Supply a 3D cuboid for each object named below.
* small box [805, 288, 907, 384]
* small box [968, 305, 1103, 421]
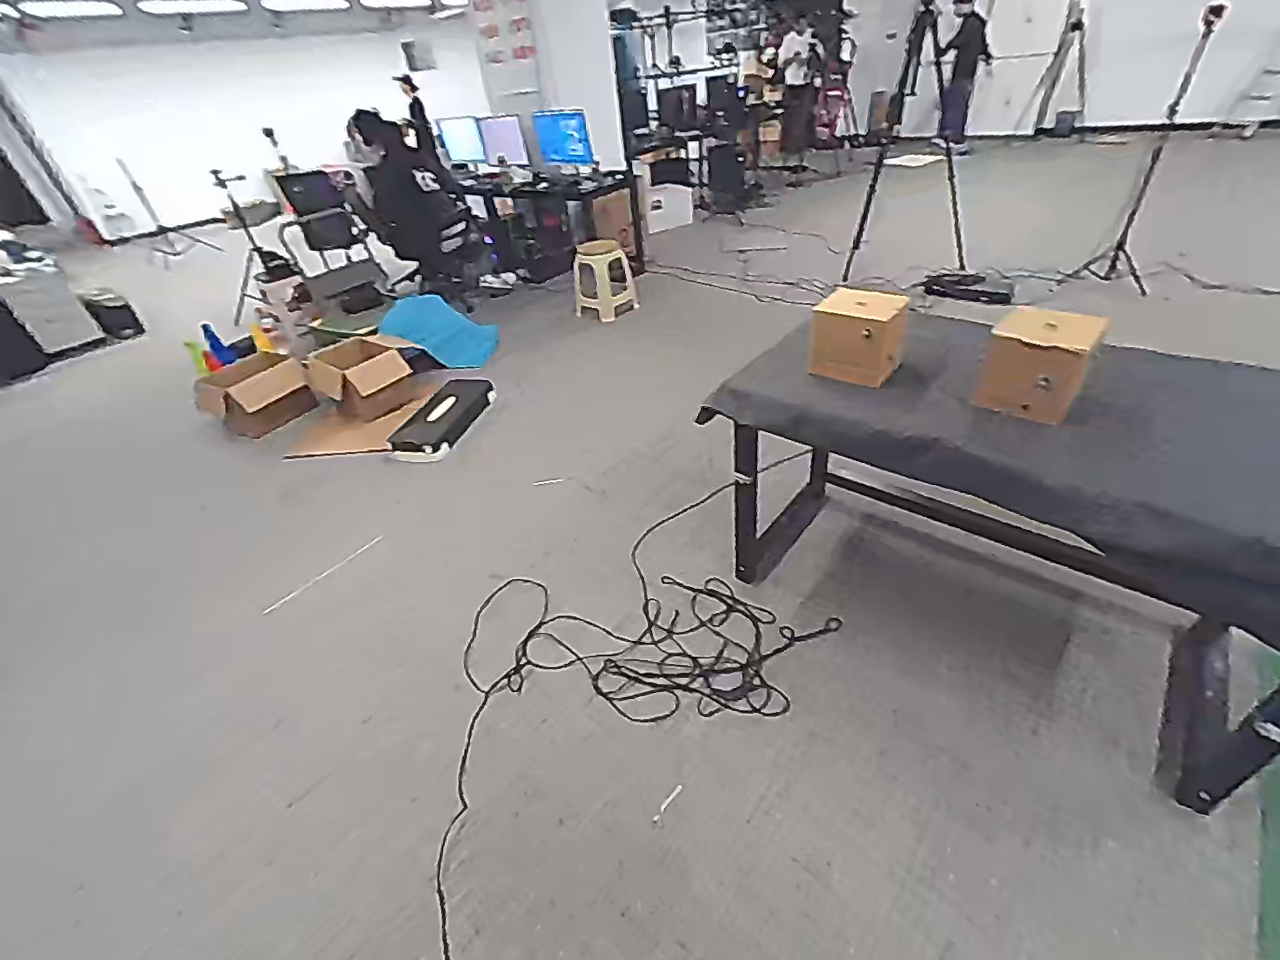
[{"bbox_3d":[0.520,-0.351,1.320,0.179,0.176,0.168,22,46,33],"label":"small box"},{"bbox_3d":[0.815,-0.244,1.129,0.168,0.176,0.179,27,48,36],"label":"small box"}]
